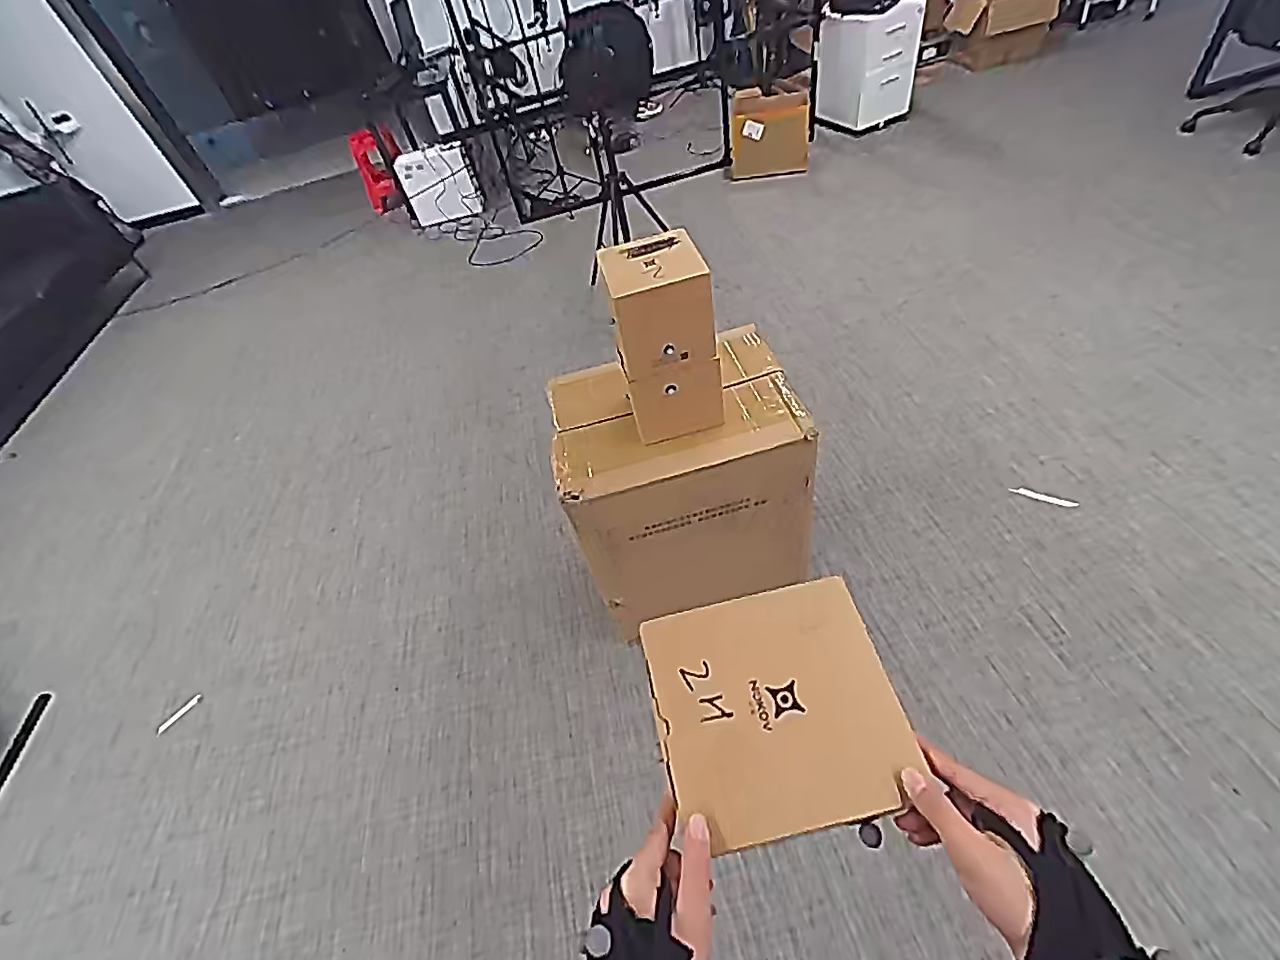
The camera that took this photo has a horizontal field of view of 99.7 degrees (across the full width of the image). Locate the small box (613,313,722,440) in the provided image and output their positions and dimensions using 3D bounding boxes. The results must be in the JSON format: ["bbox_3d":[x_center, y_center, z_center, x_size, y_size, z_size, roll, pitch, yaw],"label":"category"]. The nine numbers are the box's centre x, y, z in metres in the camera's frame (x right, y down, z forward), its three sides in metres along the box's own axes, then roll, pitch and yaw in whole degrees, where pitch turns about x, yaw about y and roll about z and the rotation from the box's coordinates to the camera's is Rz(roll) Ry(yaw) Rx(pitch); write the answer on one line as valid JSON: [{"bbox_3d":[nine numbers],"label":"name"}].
[{"bbox_3d":[0.058,-0.204,1.093,0.179,0.176,0.168,-15,48,0],"label":"small box"}]

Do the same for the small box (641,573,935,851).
[{"bbox_3d":[0.107,0.203,0.466,0.179,0.176,0.168,-13,55,0],"label":"small box"}]
